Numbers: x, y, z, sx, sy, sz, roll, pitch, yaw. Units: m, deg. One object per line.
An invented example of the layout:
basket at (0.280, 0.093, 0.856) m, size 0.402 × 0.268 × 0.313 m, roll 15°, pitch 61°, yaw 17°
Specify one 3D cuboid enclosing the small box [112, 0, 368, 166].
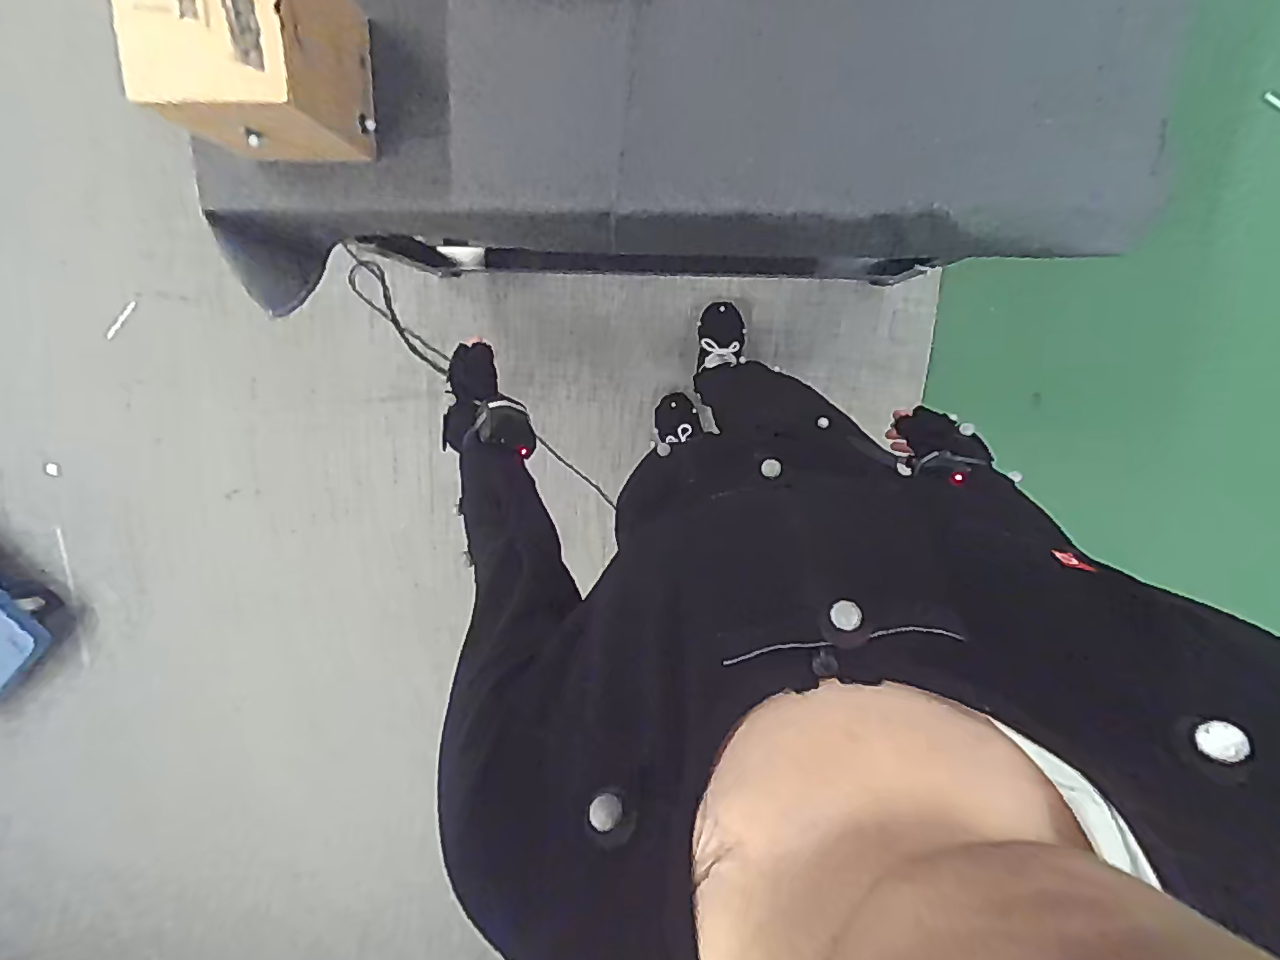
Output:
small box at (-0.430, -0.474, 0.610) m, size 0.179 × 0.176 × 0.168 m, roll 2°, pitch 102°, yaw 3°
